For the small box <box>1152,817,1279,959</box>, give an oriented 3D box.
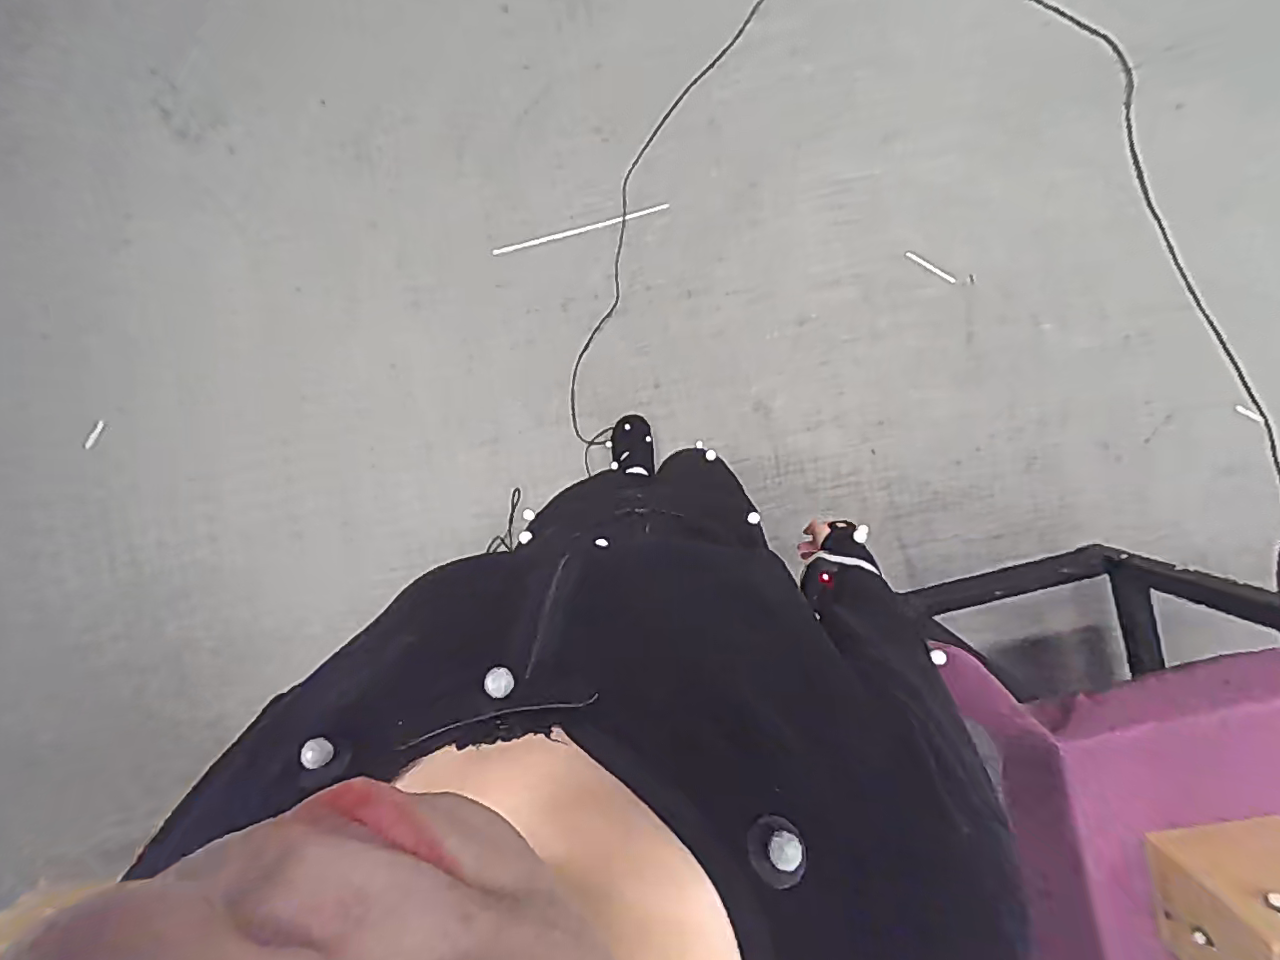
[{"bbox_3d":[0.789,0.558,0.669,0.179,0.176,0.168,-12,95,5],"label":"small box"}]
